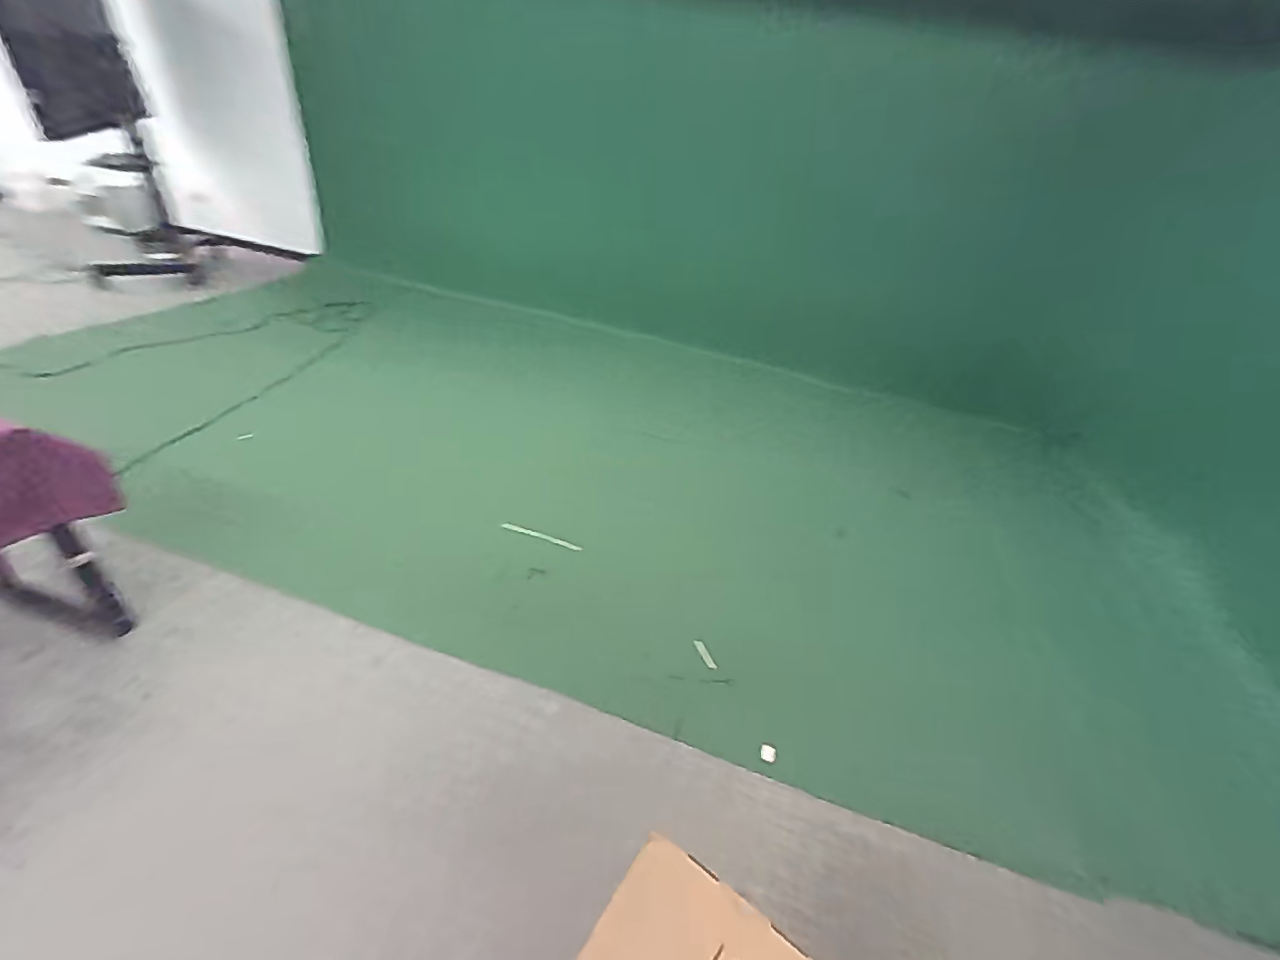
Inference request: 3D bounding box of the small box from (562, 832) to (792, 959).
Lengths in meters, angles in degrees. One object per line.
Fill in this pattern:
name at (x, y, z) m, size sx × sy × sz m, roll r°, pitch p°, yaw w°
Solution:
small box at (0.015, 0.427, 0.427) m, size 0.168 × 0.176 × 0.179 m, roll 30°, pitch 55°, yaw 20°
